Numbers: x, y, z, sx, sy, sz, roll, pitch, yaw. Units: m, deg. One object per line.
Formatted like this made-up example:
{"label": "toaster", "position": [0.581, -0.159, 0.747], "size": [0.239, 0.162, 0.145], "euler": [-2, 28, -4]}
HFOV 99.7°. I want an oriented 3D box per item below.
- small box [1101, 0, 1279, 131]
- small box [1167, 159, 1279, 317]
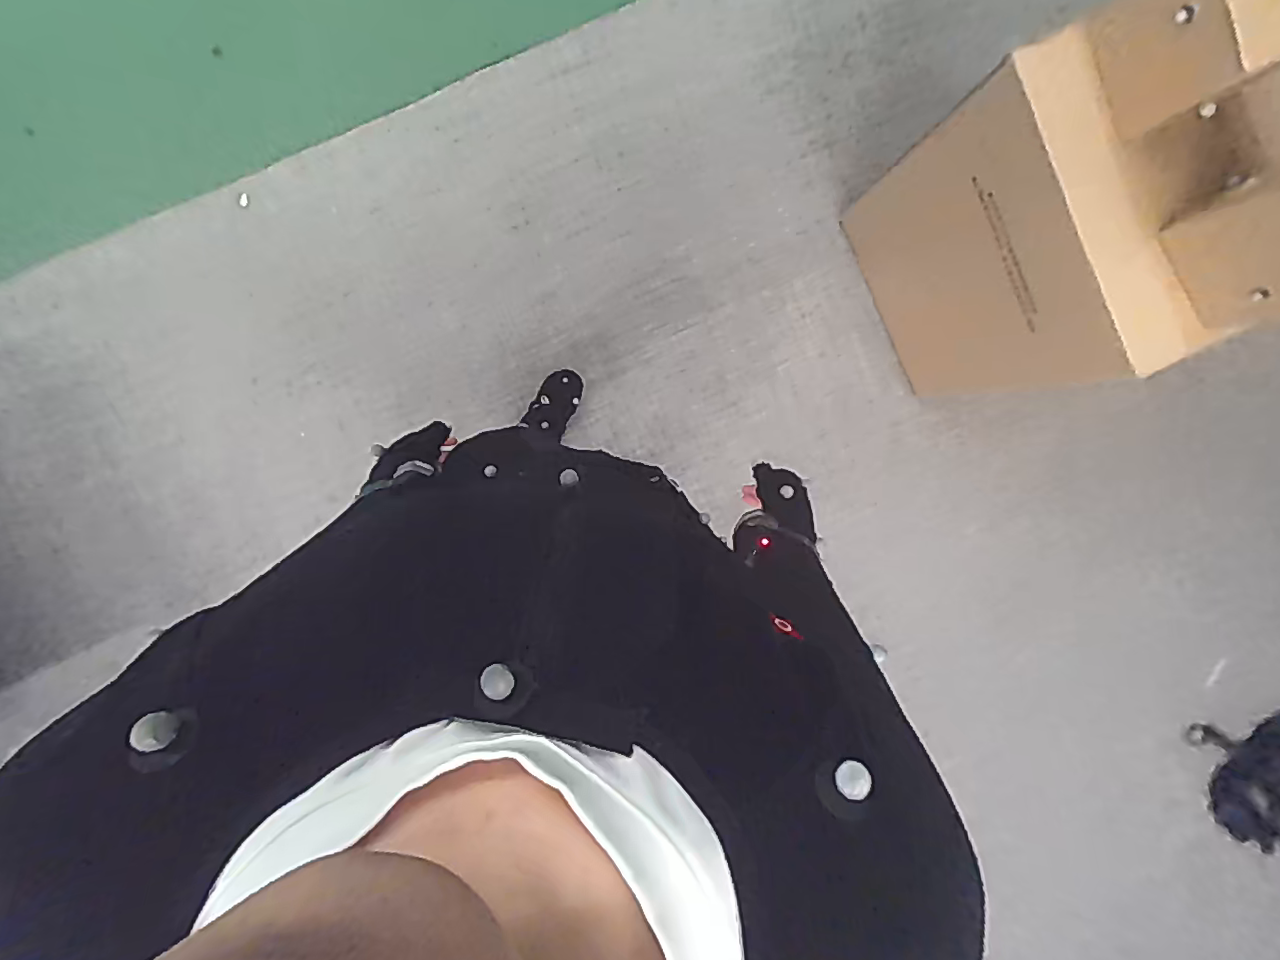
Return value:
{"label": "small box", "position": [0.757, -0.606, 0.700], "size": [0.168, 0.176, 0.179], "euler": [-23, 96, 3]}
{"label": "small box", "position": [0.896, -0.341, 0.732], "size": [0.168, 0.176, 0.179], "euler": [-34, 94, 2]}
